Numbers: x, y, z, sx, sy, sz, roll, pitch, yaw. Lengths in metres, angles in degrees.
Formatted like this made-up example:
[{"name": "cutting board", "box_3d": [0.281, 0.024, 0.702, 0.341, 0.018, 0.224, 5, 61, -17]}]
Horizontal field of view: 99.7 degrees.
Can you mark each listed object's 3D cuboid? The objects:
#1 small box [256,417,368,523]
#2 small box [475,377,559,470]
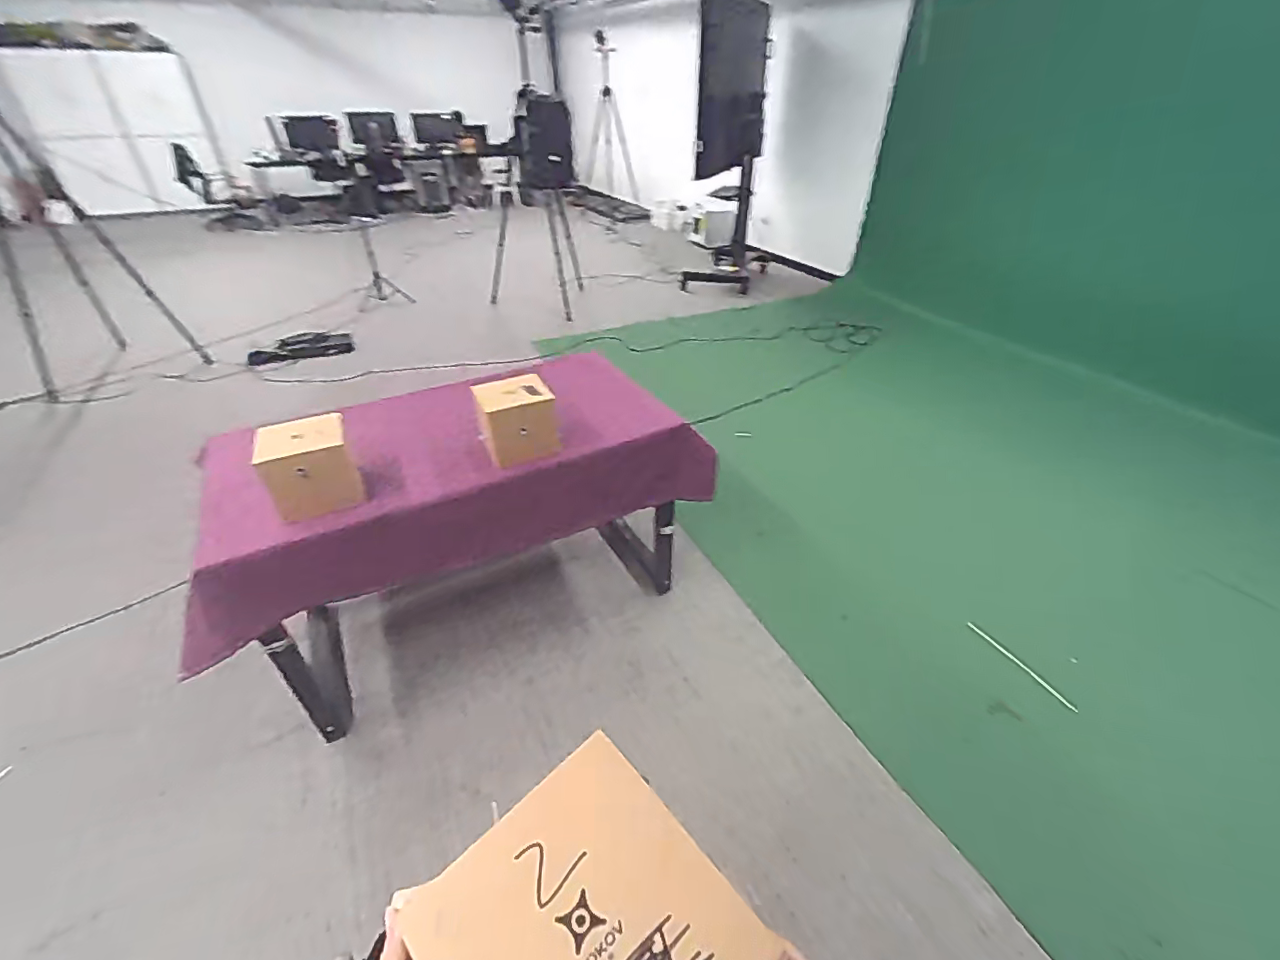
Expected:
[{"name": "small box", "box_3d": [-0.756, -0.022, 1.262, 0.179, 0.176, 0.168, -16, 39, -21]}, {"name": "small box", "box_3d": [-0.322, -0.150, 1.438, 0.179, 0.176, 0.168, -17, 39, -21]}]
